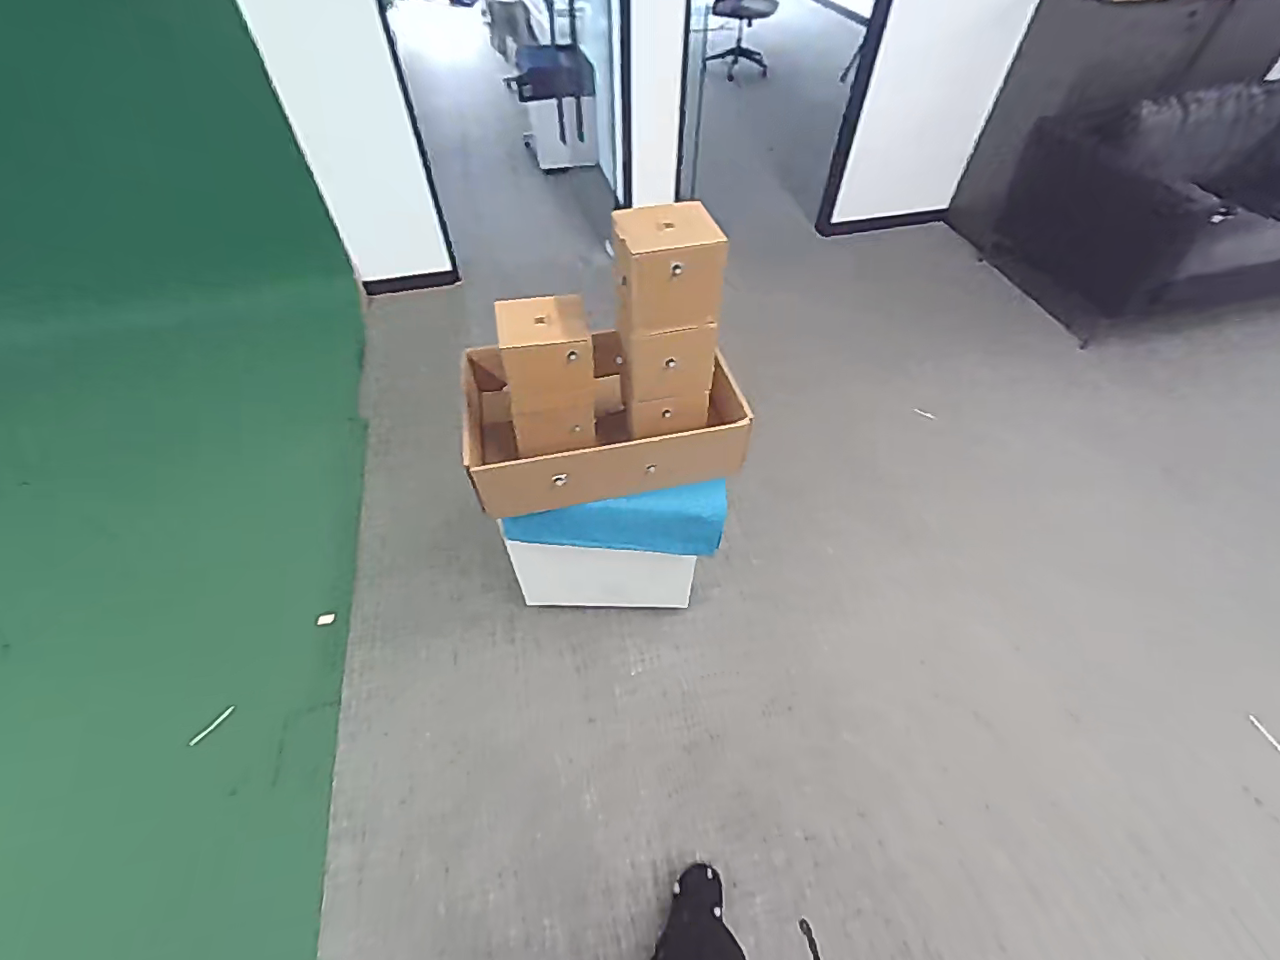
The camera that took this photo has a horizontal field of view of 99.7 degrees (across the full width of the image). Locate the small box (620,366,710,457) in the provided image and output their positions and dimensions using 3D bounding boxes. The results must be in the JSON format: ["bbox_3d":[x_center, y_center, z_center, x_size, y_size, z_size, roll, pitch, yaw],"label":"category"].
[{"bbox_3d":[0.056,-0.171,1.272,0.179,0.176,0.168,-10,50,-7],"label":"small box"}]

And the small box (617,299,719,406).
[{"bbox_3d":[0.054,-0.280,1.150,0.179,0.176,0.168,-11,49,-7],"label":"small box"}]

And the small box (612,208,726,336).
[{"bbox_3d":[0.051,-0.392,1.032,0.179,0.176,0.168,-10,50,-8],"label":"small box"}]
